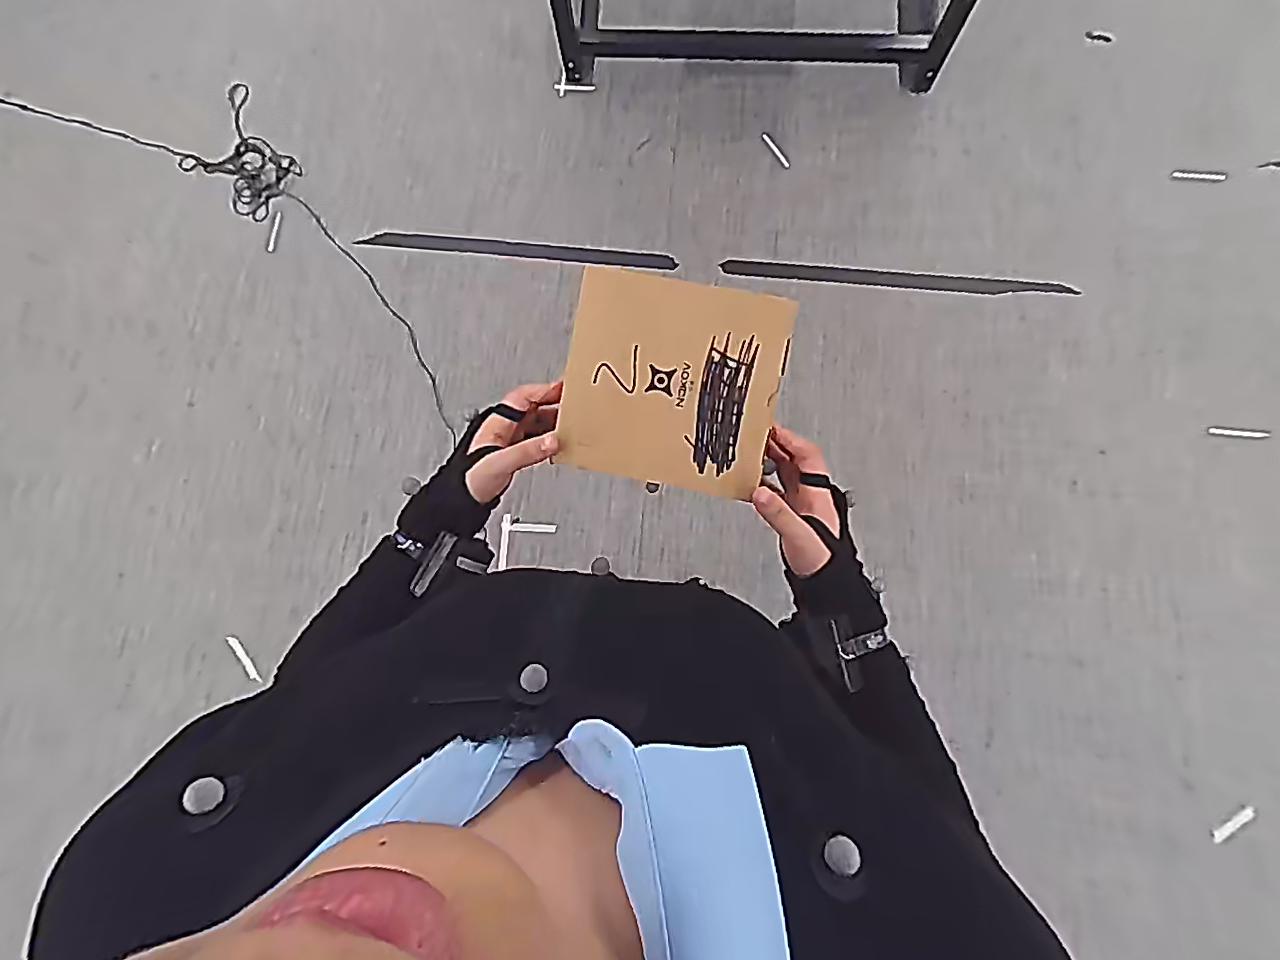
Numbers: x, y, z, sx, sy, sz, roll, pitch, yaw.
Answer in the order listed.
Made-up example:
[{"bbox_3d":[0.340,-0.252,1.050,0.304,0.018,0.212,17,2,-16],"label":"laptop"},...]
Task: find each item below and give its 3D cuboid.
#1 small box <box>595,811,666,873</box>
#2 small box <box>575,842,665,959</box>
[{"bbox_3d":[-0.025,0.926,1.300,0.168,0.176,0.179,3,80,3],"label":"small box"},{"bbox_3d":[-0.036,0.906,1.139,0.168,0.176,0.179,5,79,3],"label":"small box"}]
